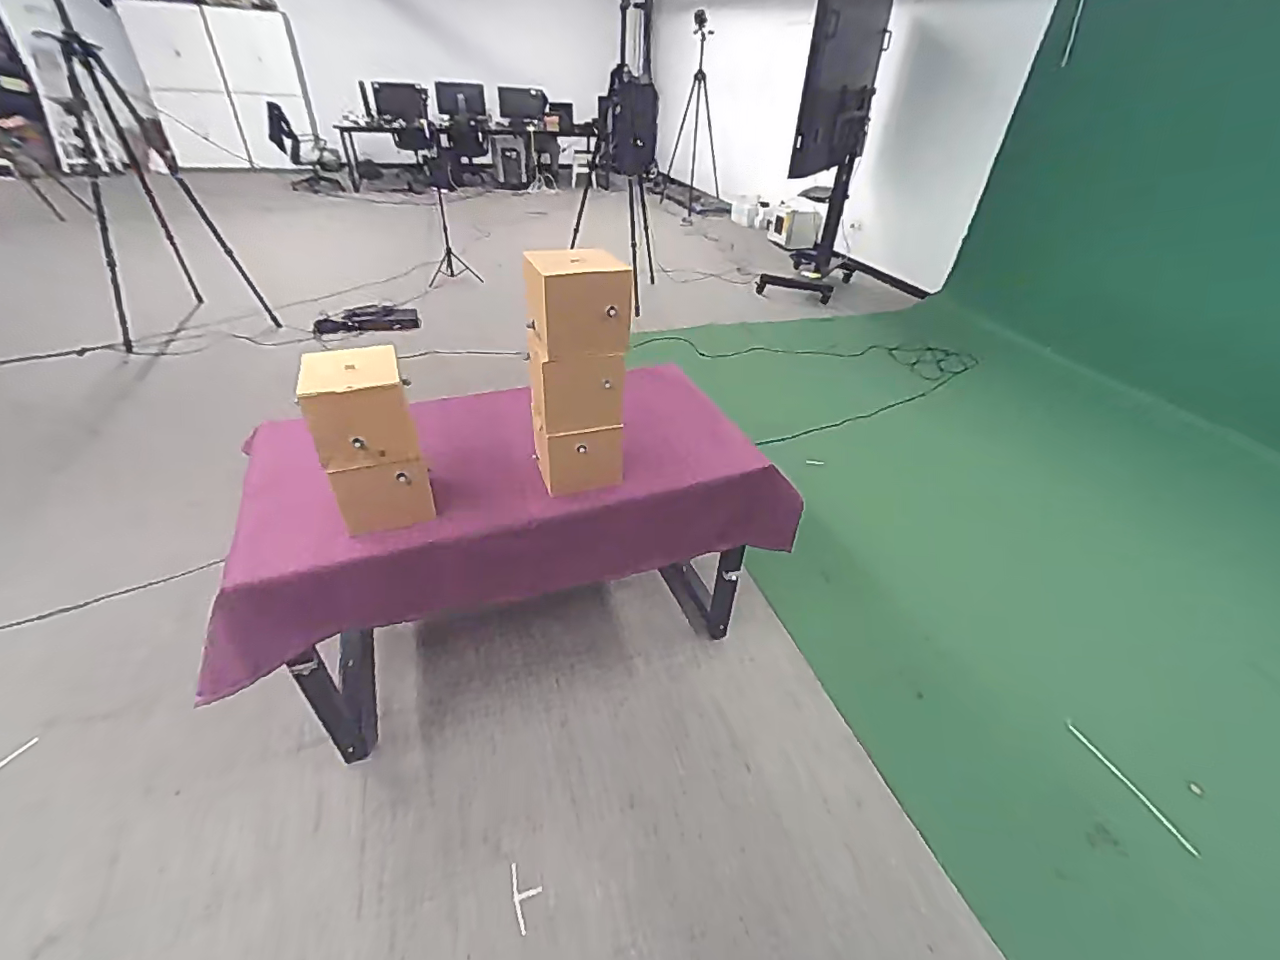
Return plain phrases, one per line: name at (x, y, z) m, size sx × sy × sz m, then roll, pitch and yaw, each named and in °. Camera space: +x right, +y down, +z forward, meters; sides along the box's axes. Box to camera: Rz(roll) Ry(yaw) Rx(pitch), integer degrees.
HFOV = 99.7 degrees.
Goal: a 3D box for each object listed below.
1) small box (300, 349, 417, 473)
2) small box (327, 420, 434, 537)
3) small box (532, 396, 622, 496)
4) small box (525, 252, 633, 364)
small box at (-0.541, -0.137, 1.055) m, size 0.168 × 0.176 × 0.179 m, roll -12°, pitch 41°, yaw -20°
small box at (-0.545, -0.004, 1.150) m, size 0.179 × 0.176 × 0.168 m, roll -12°, pitch 39°, yaw -20°
small box at (-0.149, -0.078, 1.281) m, size 0.179 × 0.176 × 0.168 m, roll -10°, pitch 39°, yaw -18°
small box at (-0.127, -0.351, 1.099) m, size 0.179 × 0.176 × 0.168 m, roll -12°, pitch 39°, yaw -19°
